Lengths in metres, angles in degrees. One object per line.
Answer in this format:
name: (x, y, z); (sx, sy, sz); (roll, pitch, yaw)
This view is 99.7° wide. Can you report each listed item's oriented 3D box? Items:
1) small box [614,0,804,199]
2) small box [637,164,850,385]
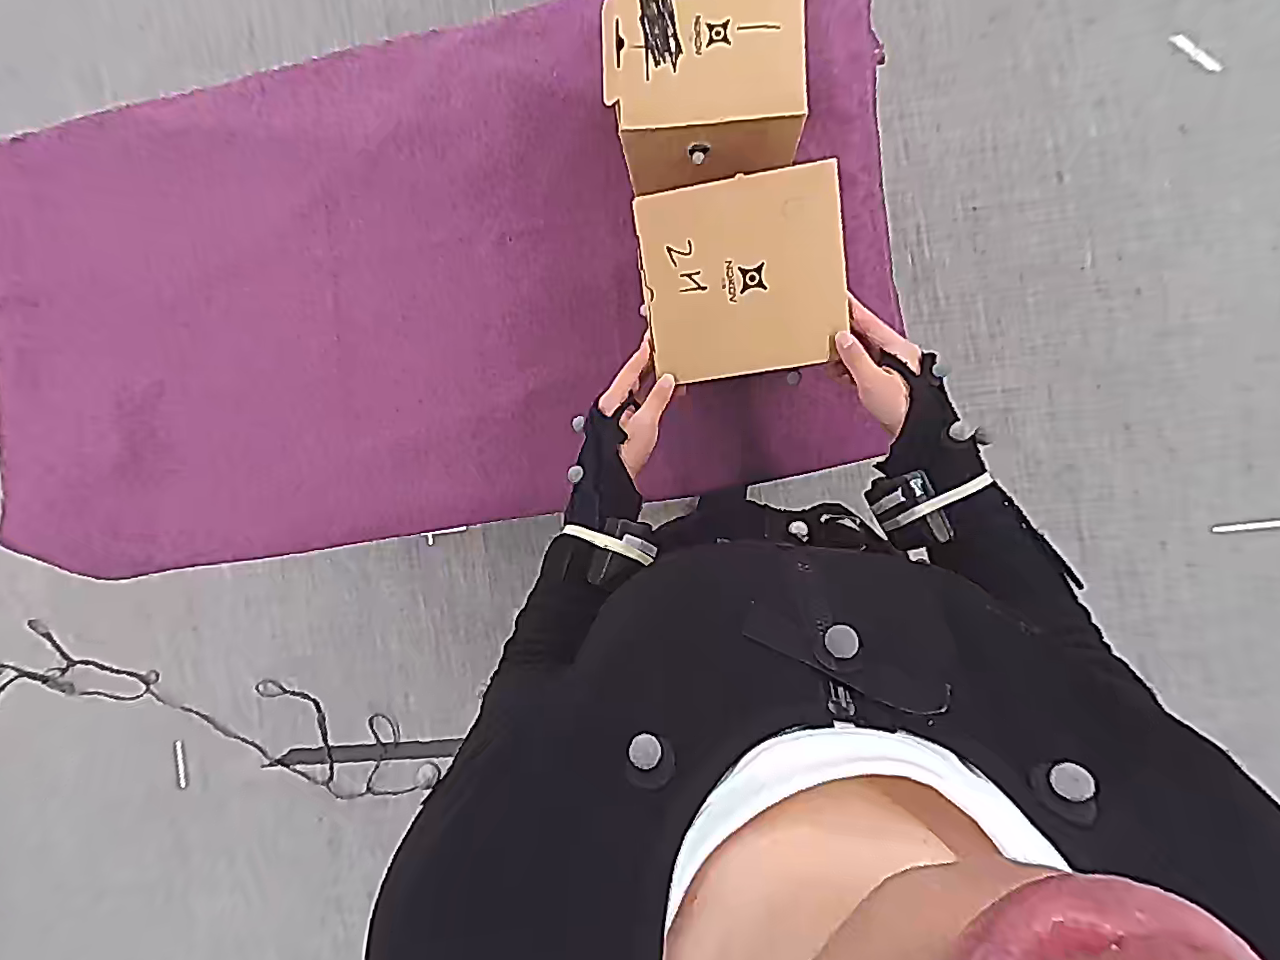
small box: (0.072, -0.417, 0.583); (0.179, 0.176, 0.168); (-1, 92, 6)
small box: (0.100, -0.193, 0.554); (0.179, 0.176, 0.168); (-7, 100, 8)
